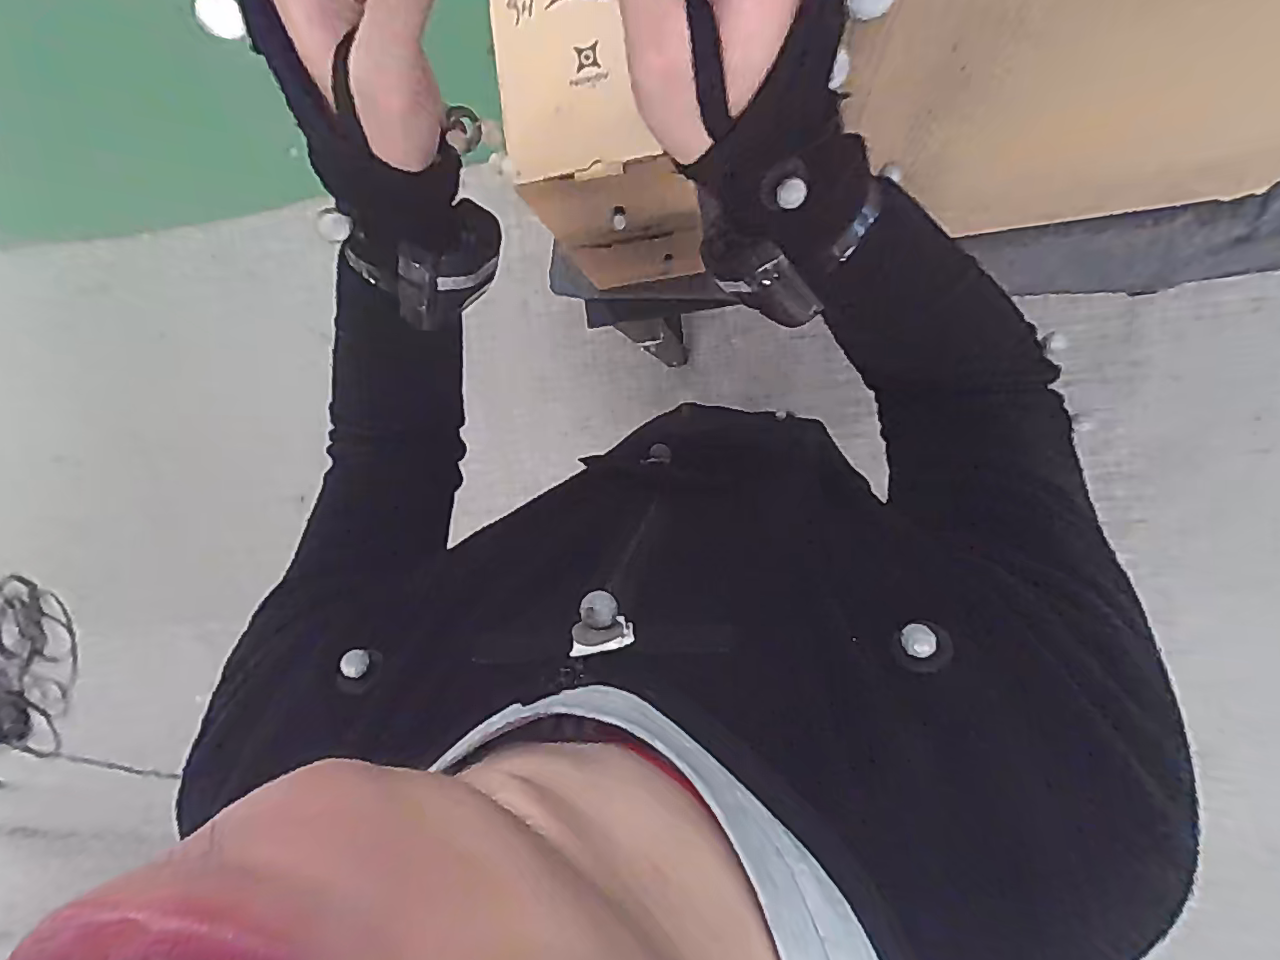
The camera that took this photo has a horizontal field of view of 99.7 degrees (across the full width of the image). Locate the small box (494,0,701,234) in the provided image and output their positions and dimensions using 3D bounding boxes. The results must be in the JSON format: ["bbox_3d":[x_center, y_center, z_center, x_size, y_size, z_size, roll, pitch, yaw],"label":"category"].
[{"bbox_3d":[-0.030,-0.370,0.552,0.168,0.176,0.179,-5,94,10],"label":"small box"}]

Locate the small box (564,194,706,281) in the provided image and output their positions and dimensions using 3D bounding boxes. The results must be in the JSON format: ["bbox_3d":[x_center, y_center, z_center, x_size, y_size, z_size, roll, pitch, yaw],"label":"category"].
[{"bbox_3d":[-0.005,-0.376,0.714,0.168,0.176,0.179,-6,92,10],"label":"small box"}]
